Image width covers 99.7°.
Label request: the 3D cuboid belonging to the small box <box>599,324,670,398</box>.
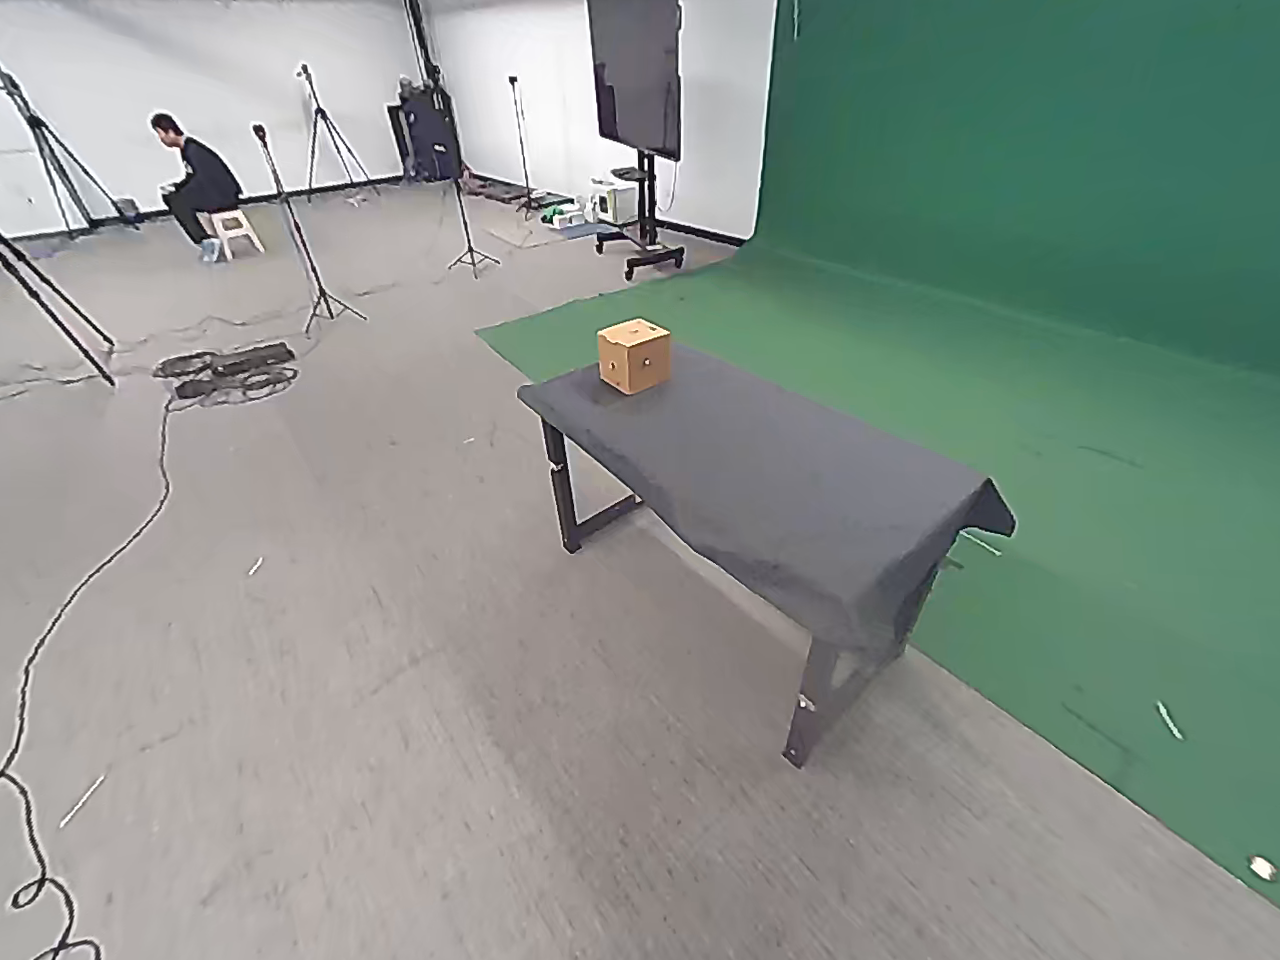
[{"bbox_3d":[-0.012,-0.391,1.783,0.179,0.176,0.168,-27,44,-27],"label":"small box"}]
